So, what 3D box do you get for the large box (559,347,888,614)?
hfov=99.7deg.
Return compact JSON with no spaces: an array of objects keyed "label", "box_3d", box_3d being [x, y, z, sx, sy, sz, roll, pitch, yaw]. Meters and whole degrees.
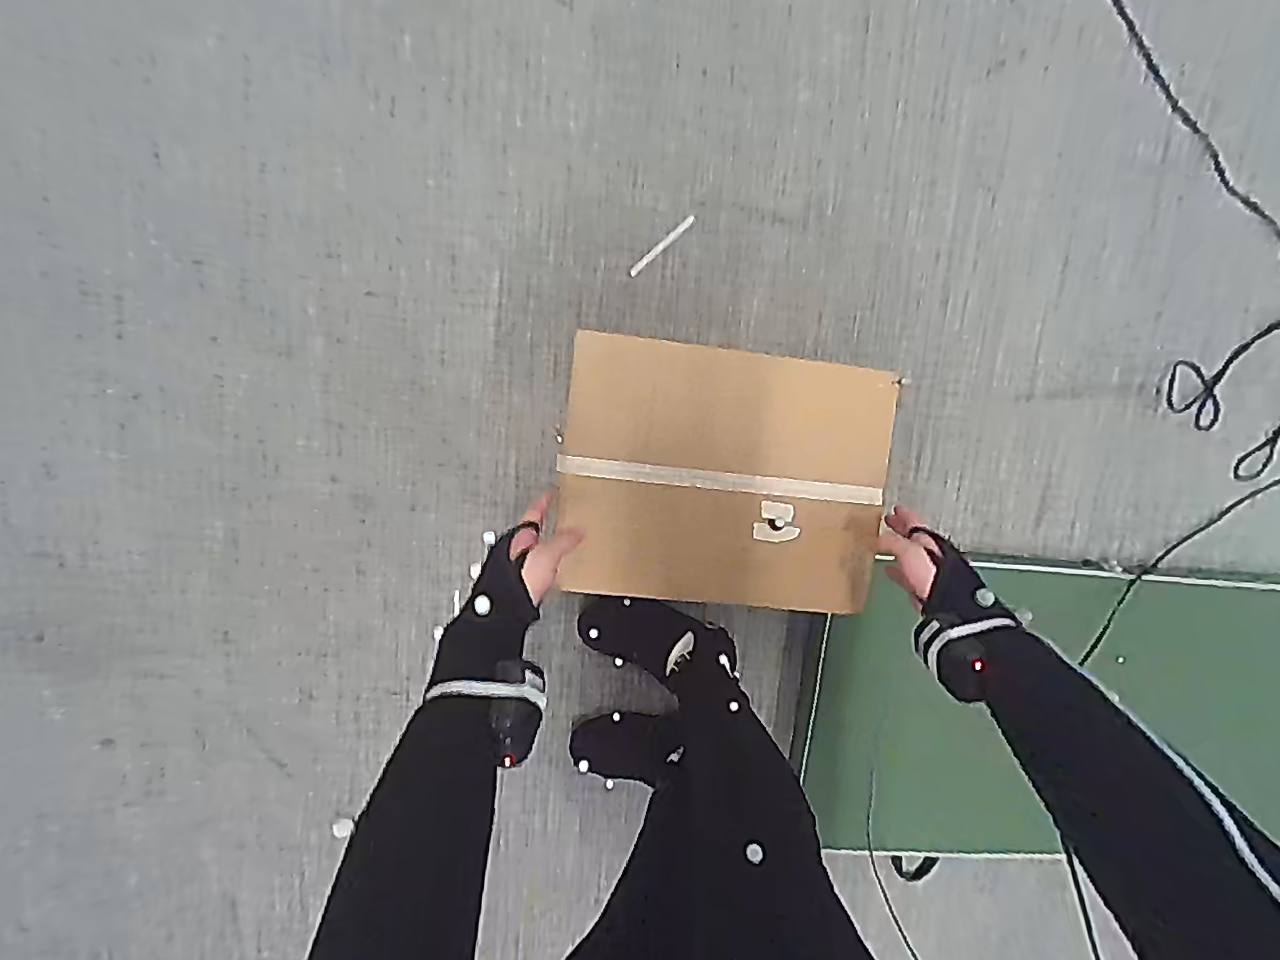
[{"label":"large box","box_3d":[0.091,0.000,0.824,0.408,0.320,0.320,6,94,-7]}]
